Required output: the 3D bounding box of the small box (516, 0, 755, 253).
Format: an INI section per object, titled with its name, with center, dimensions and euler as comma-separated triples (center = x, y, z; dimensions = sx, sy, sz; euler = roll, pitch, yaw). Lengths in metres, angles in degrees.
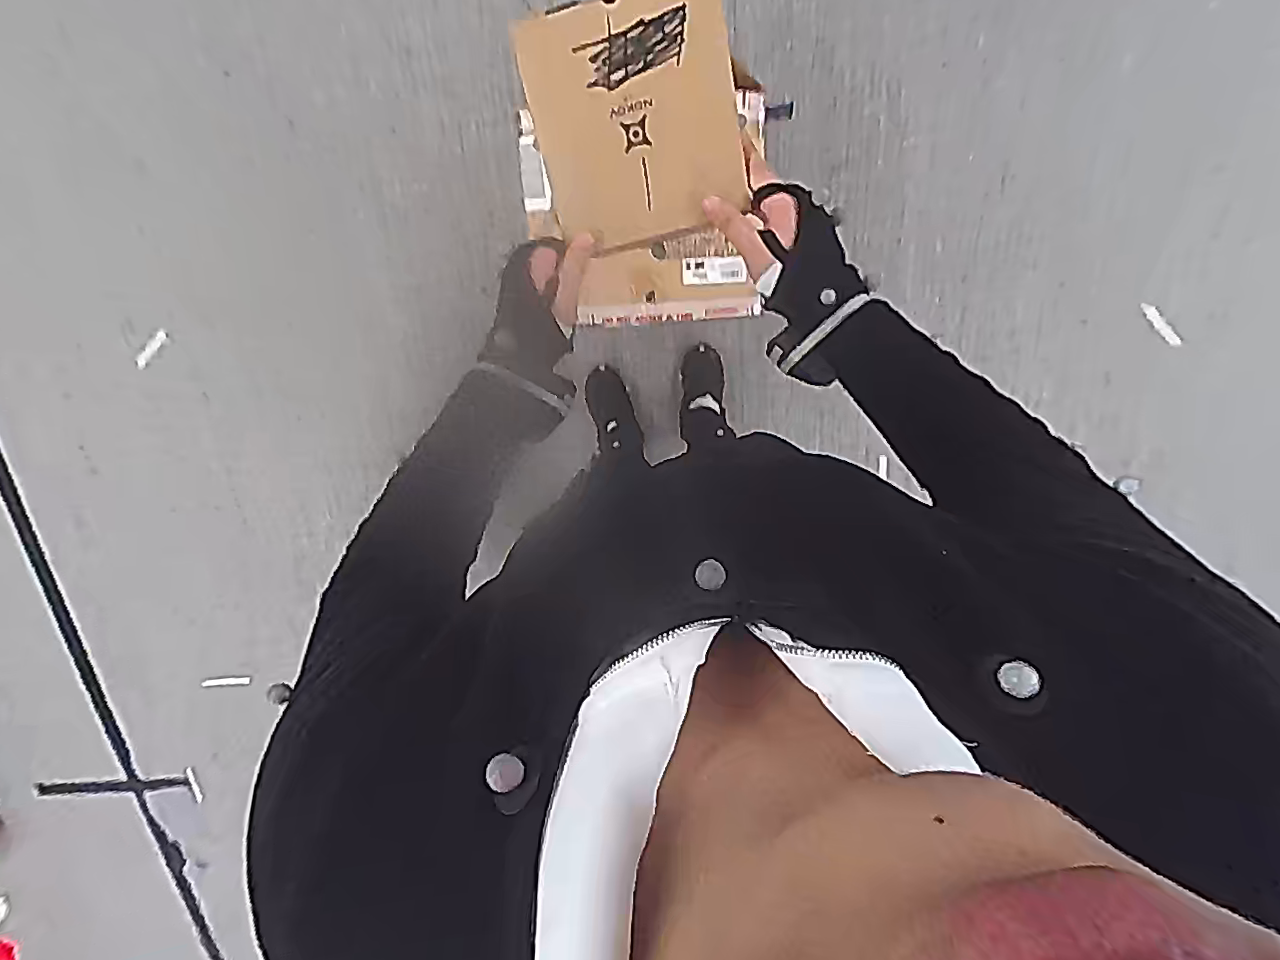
[small box]
center = 0.005, -0.322, 0.510
dimensions = 0.168, 0.176, 0.179
euler = -11, 112, 9
